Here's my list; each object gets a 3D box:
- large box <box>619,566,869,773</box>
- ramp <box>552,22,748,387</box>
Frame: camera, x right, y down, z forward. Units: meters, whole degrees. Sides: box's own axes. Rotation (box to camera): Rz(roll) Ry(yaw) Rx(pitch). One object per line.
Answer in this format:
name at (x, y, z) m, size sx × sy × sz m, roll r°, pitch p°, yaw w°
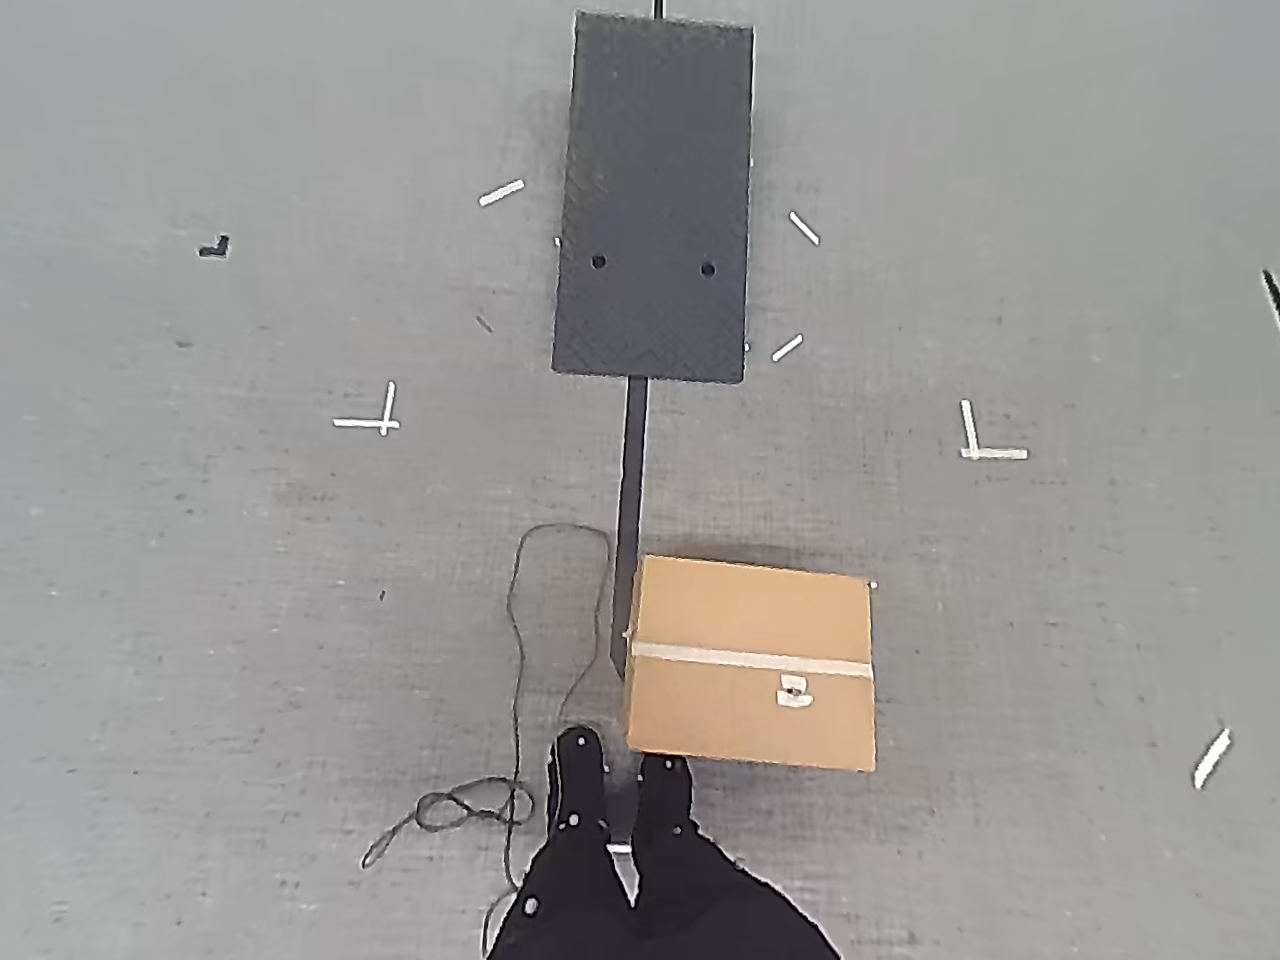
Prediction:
large box at (0.174, 0.358, 1.054) m, size 0.408 × 0.320 × 0.320 m, roll 6°, pitch 74°, yaw -3°
ramp at (0.040, -0.745, 1.442) m, size 0.509 × 0.206 × 0.991 m, roll 2°, pitch 74°, yaw -4°
